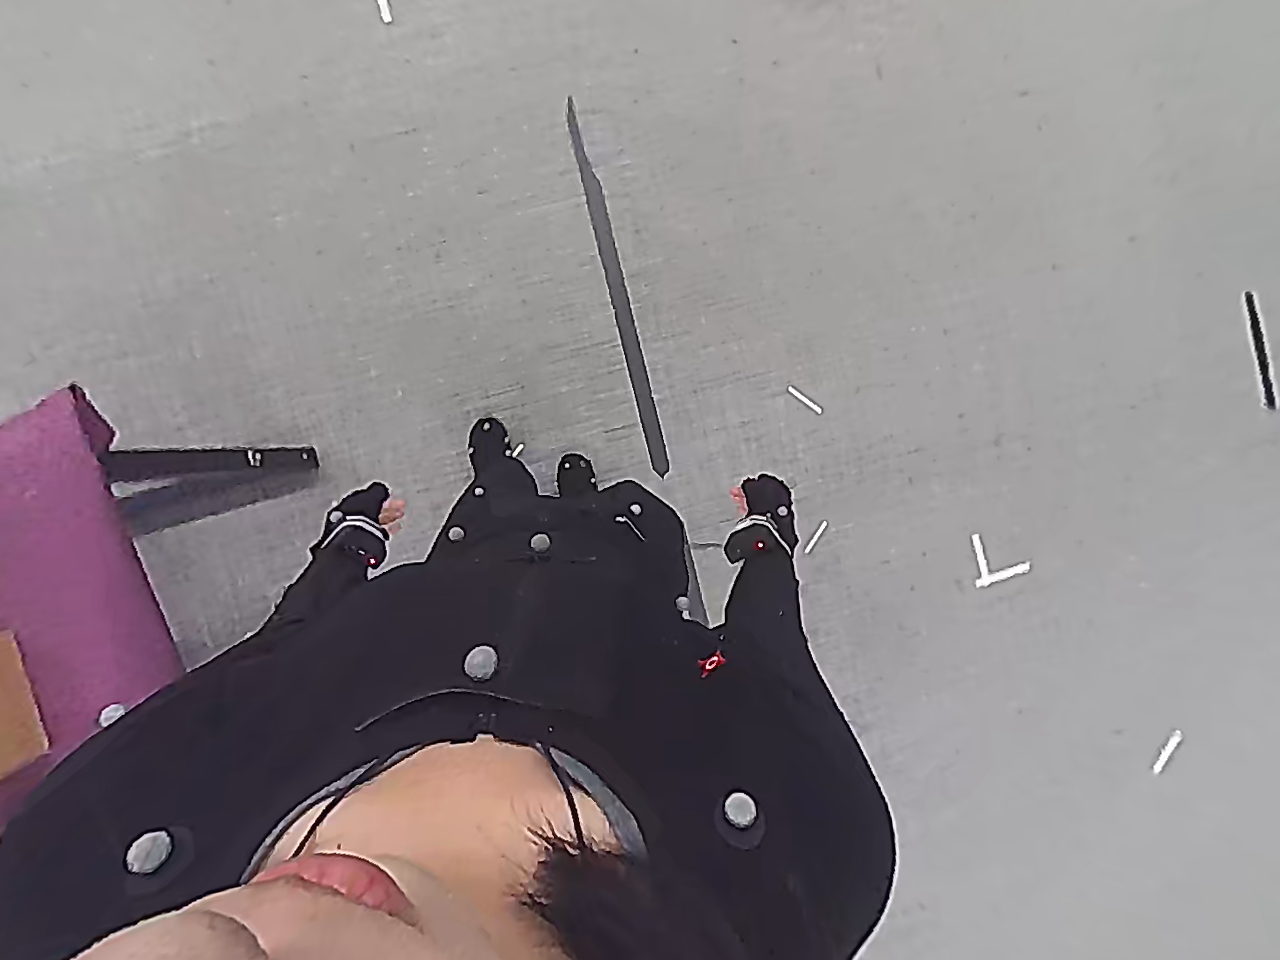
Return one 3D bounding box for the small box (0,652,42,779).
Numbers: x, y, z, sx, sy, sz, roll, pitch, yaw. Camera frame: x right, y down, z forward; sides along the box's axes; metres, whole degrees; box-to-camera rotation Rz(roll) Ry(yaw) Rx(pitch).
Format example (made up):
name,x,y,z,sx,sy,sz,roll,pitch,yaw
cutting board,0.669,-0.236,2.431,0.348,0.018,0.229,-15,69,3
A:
name,x,y,z,sx,sy,sz,roll,pitch,yaw
small box,-0.913,0.319,0.658,0.168,0.176,0.179,-13,95,-1
